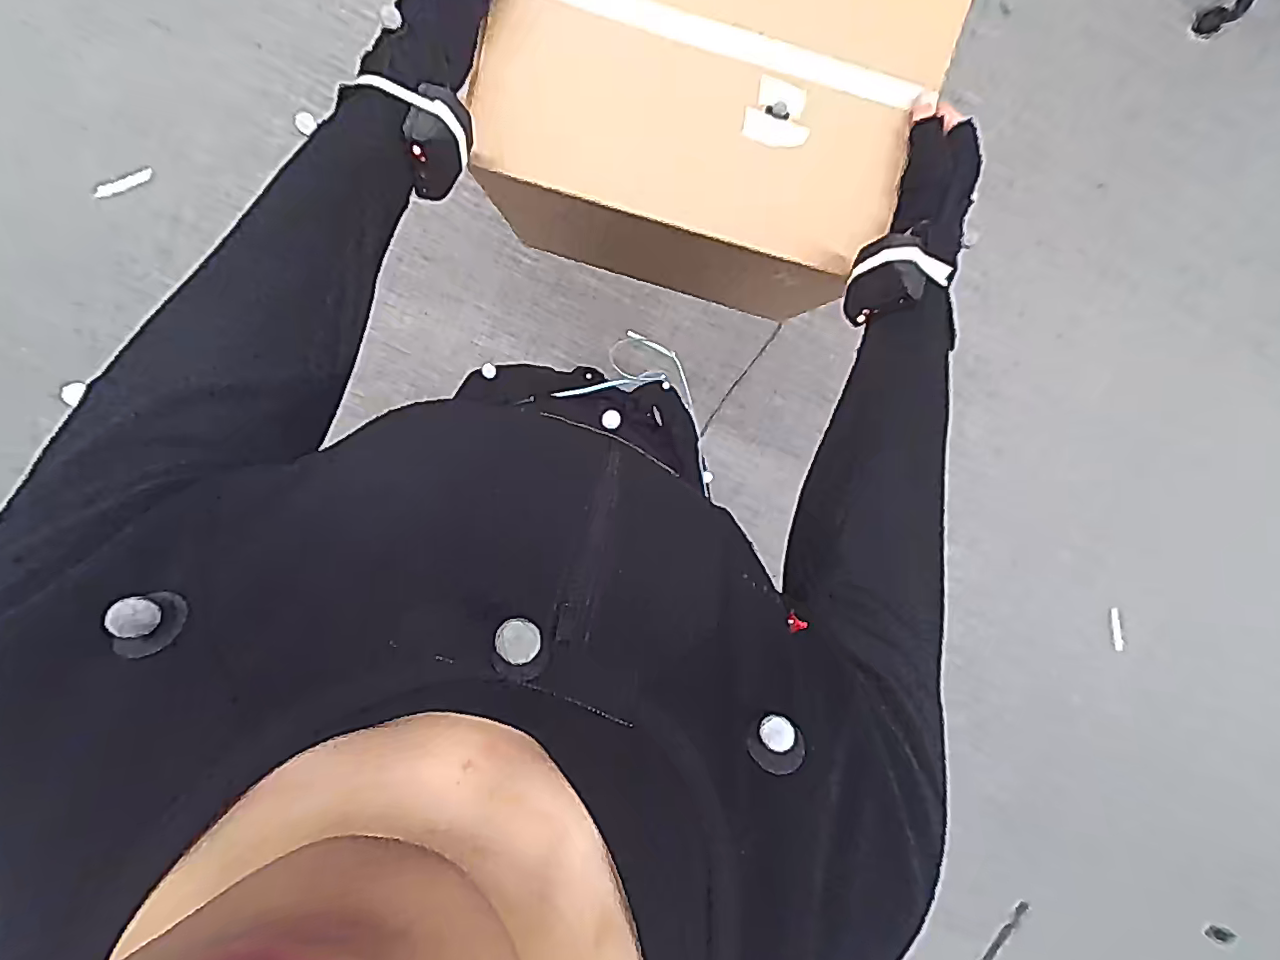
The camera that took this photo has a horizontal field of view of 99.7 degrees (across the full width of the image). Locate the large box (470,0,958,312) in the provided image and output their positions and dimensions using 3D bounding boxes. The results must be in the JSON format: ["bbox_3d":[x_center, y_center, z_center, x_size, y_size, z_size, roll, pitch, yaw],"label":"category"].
[{"bbox_3d":[0.064,-0.417,0.632,0.408,0.320,0.320,15,101,-5],"label":"large box"}]
